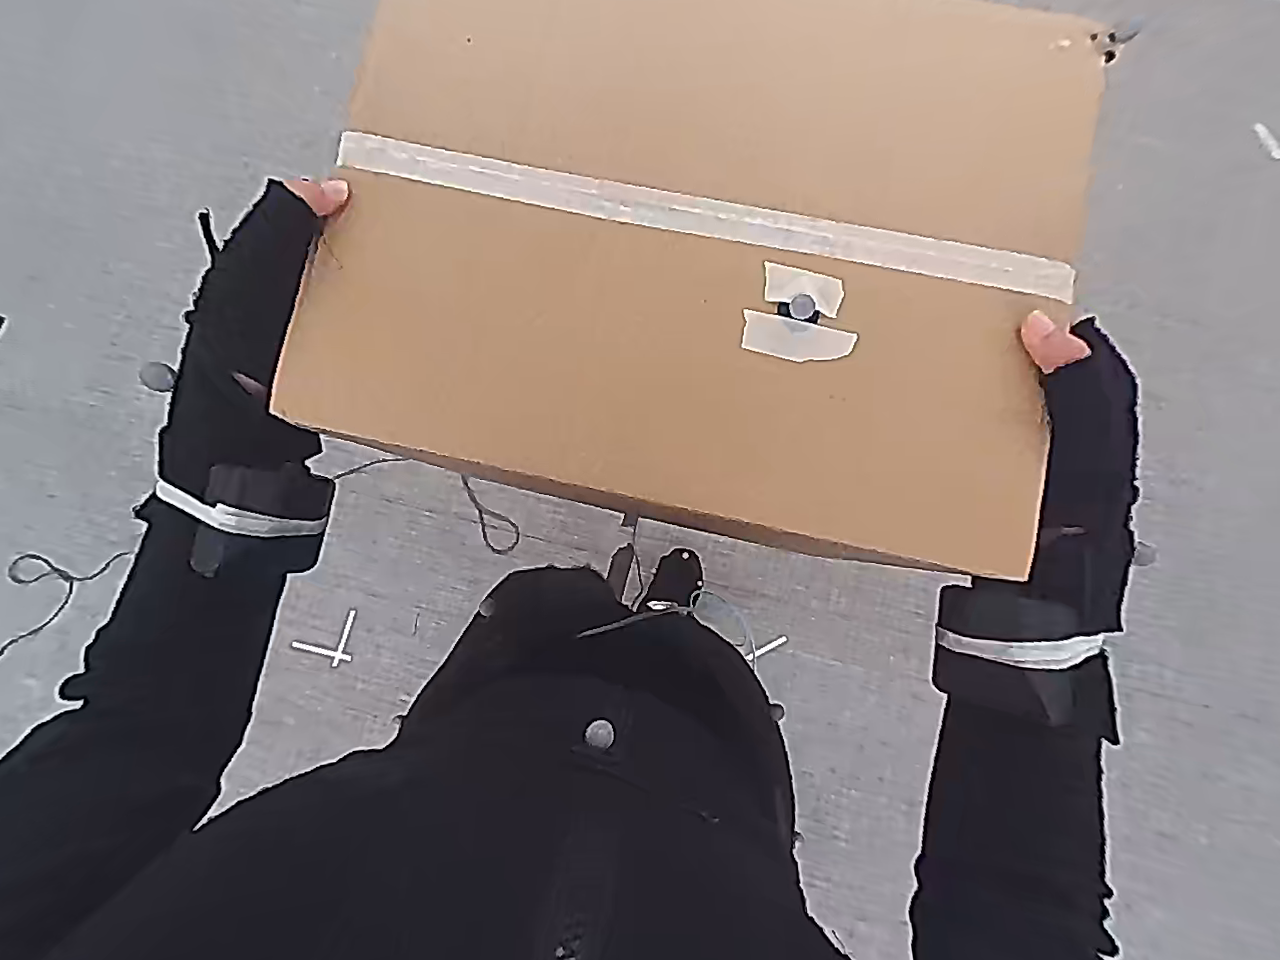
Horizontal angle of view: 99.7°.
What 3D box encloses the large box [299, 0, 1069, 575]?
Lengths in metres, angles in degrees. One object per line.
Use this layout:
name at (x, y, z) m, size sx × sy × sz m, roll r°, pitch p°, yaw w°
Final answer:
large box at (0.031, -0.120, 0.459) m, size 0.408 × 0.320 × 0.320 m, roll 12°, pitch 86°, yaw 3°
